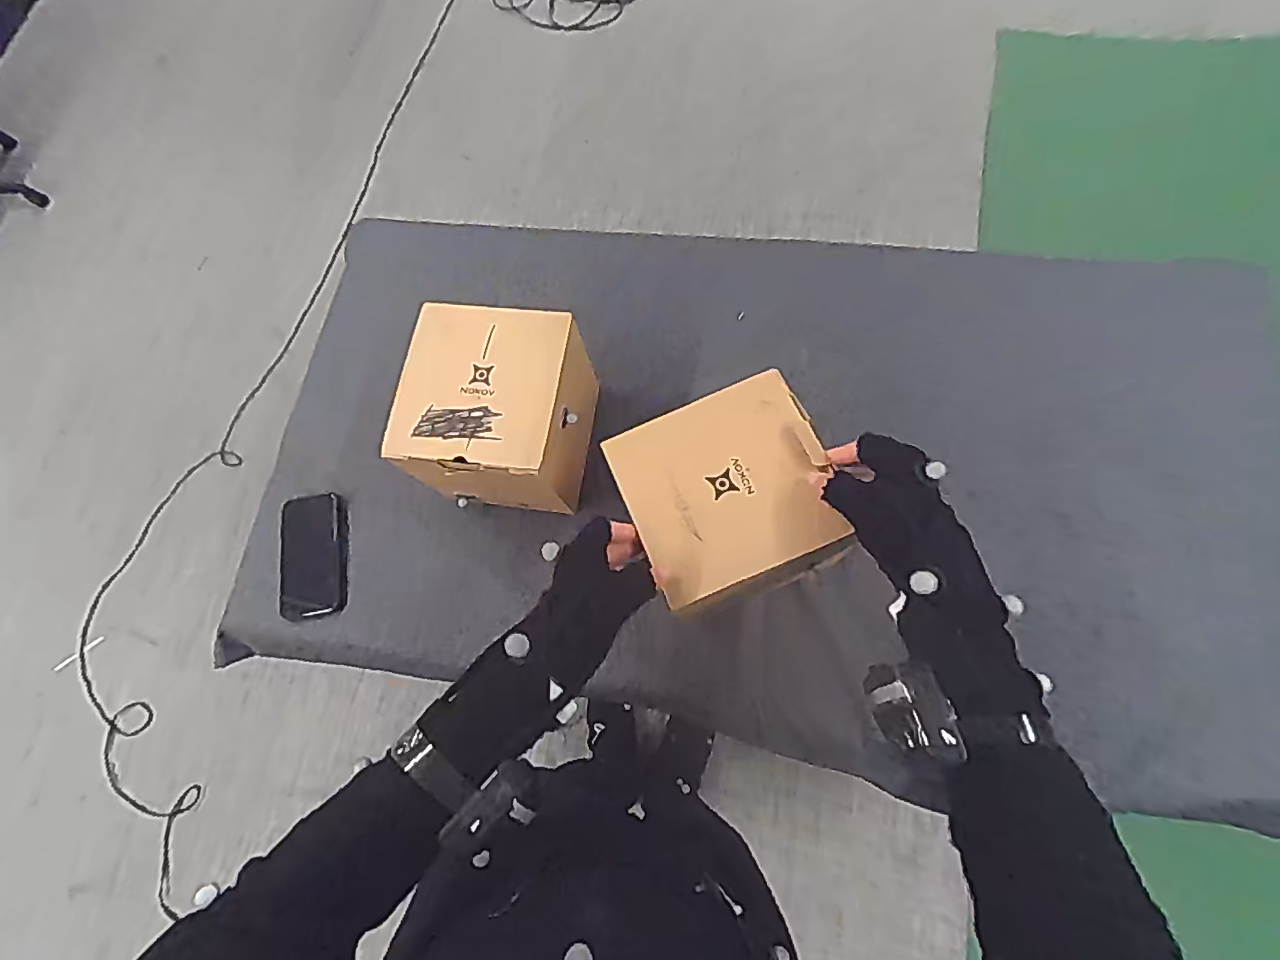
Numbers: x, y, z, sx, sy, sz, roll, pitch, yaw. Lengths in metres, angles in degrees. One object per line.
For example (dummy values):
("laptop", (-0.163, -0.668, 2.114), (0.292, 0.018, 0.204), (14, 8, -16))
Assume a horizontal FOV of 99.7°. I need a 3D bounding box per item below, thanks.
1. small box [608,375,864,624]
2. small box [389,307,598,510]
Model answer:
("small box", (0.089, 0.031, 0.545), (0.179, 0.176, 0.168), (-24, 68, 1))
("small box", (-0.150, -0.072, 0.624), (0.168, 0.176, 0.179), (7, 73, 7))
